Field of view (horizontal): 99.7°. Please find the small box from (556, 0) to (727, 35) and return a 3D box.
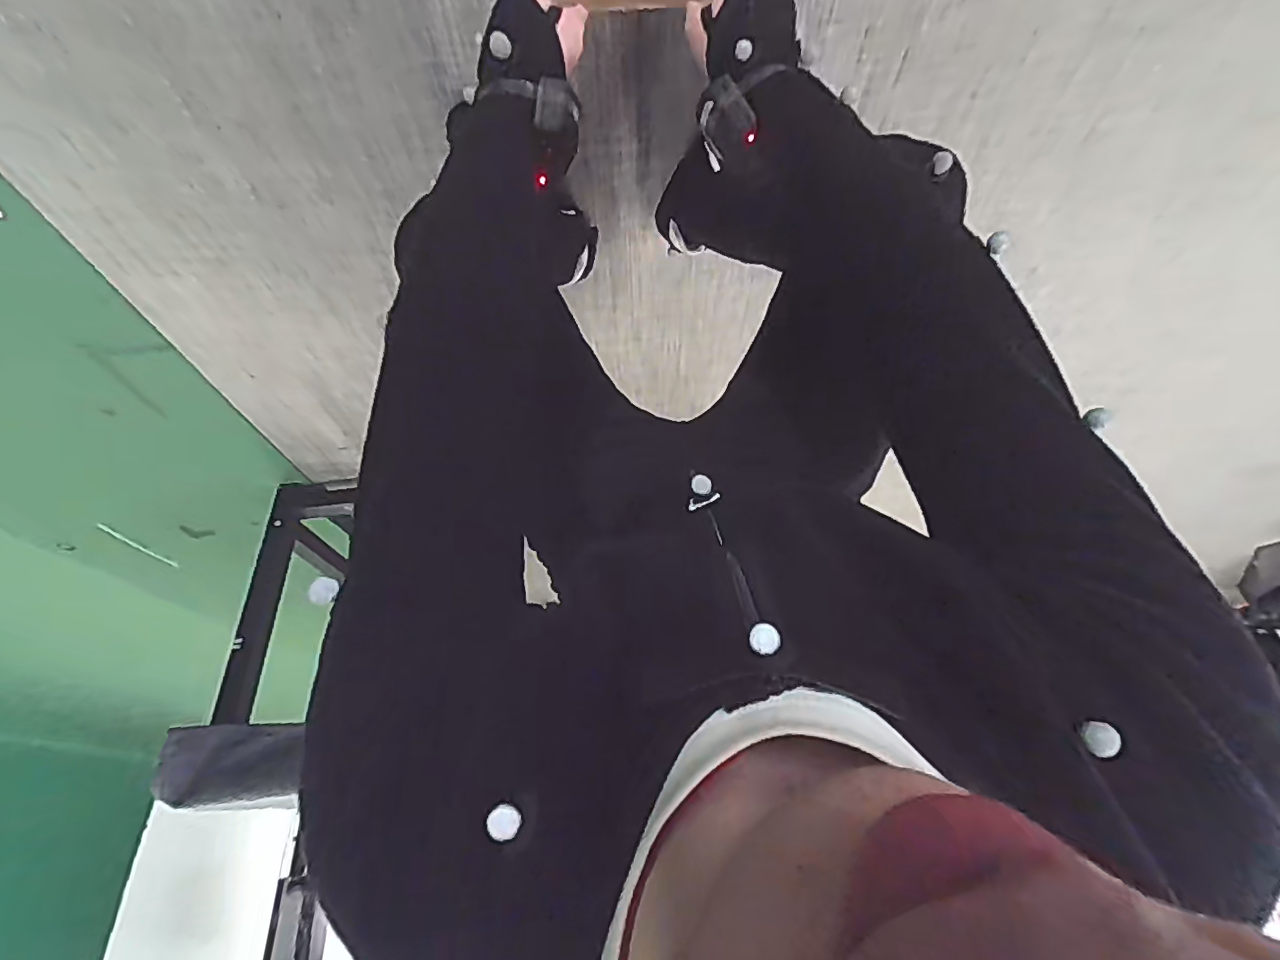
[{"bbox_3d":[-0.002,-0.552,0.502,0.168,0.176,0.179,-2,148,-3],"label":"small box"}]
